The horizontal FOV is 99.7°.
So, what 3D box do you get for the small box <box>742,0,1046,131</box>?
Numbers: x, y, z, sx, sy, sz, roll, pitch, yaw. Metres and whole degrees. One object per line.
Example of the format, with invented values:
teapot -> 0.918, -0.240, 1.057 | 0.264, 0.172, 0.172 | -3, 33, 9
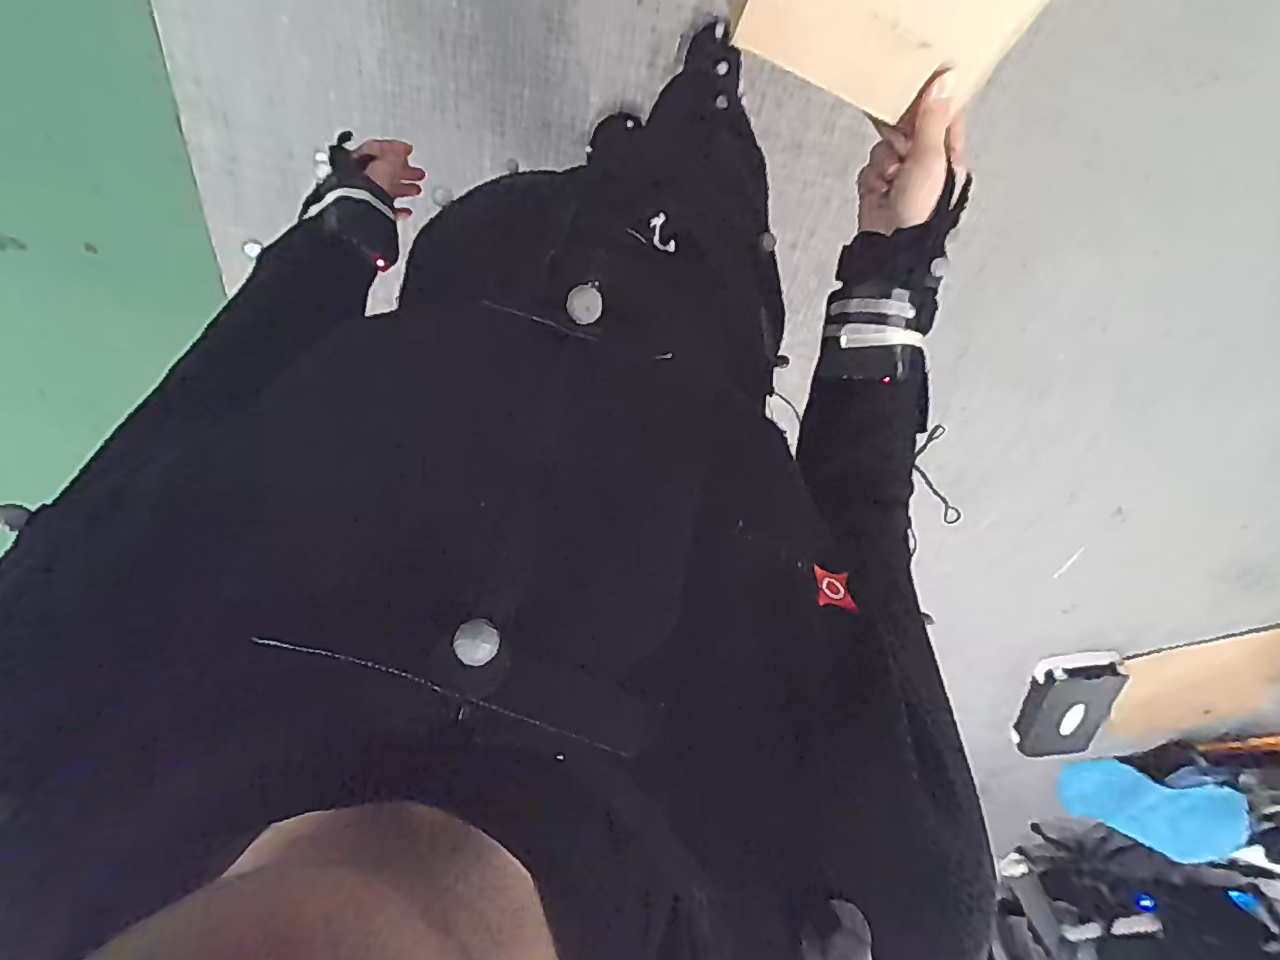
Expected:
small box -> 0.170, -0.374, 0.336 | 0.168, 0.176, 0.179 | 14, 146, -15
